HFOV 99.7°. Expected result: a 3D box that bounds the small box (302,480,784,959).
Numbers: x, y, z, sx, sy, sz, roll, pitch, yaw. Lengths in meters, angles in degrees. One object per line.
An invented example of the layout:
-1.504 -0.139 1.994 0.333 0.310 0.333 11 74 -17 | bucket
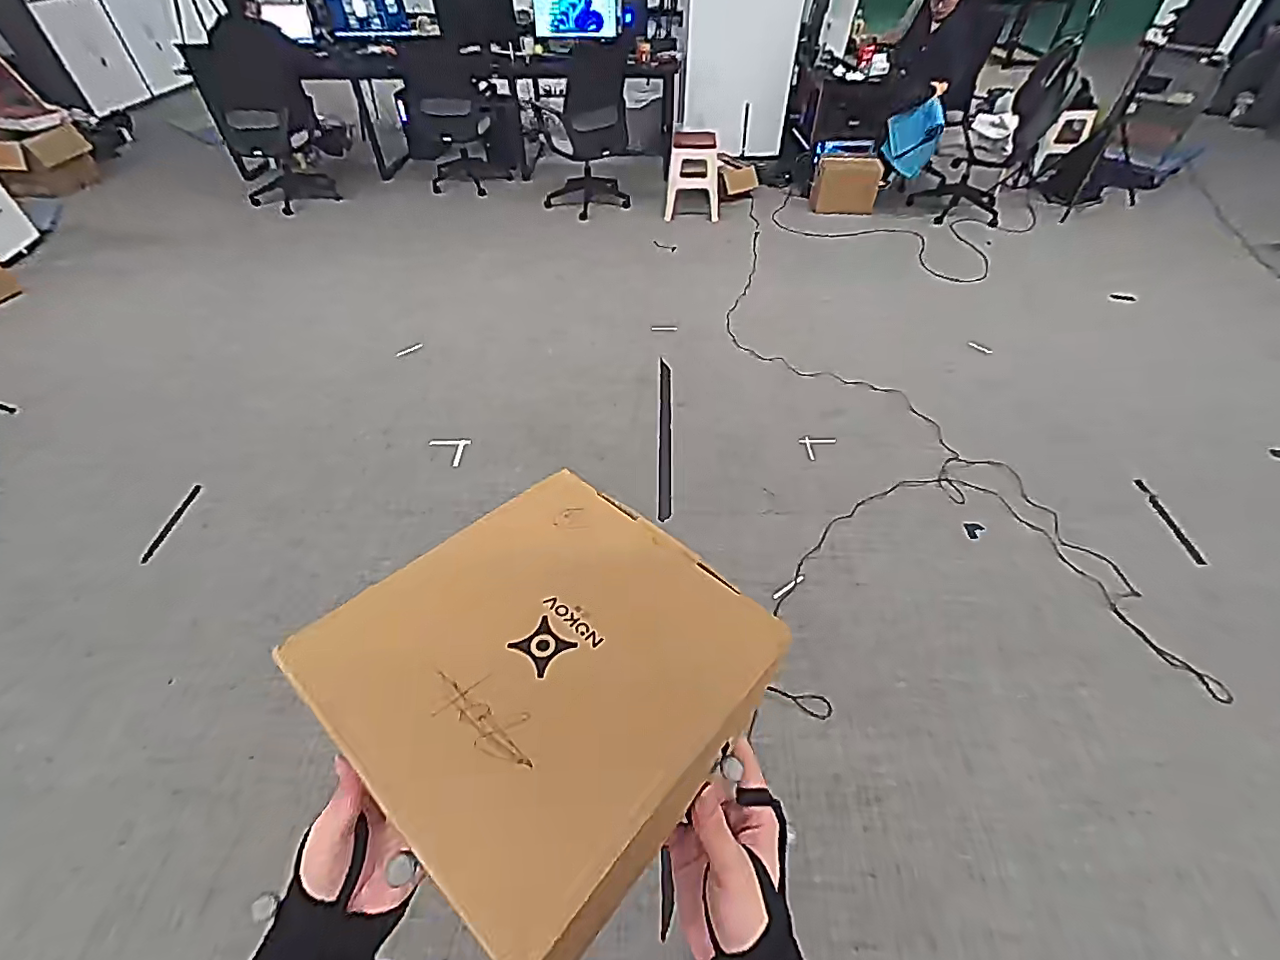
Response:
-0.047 0.138 0.318 0.168 0.176 0.179 33 51 25 | small box
